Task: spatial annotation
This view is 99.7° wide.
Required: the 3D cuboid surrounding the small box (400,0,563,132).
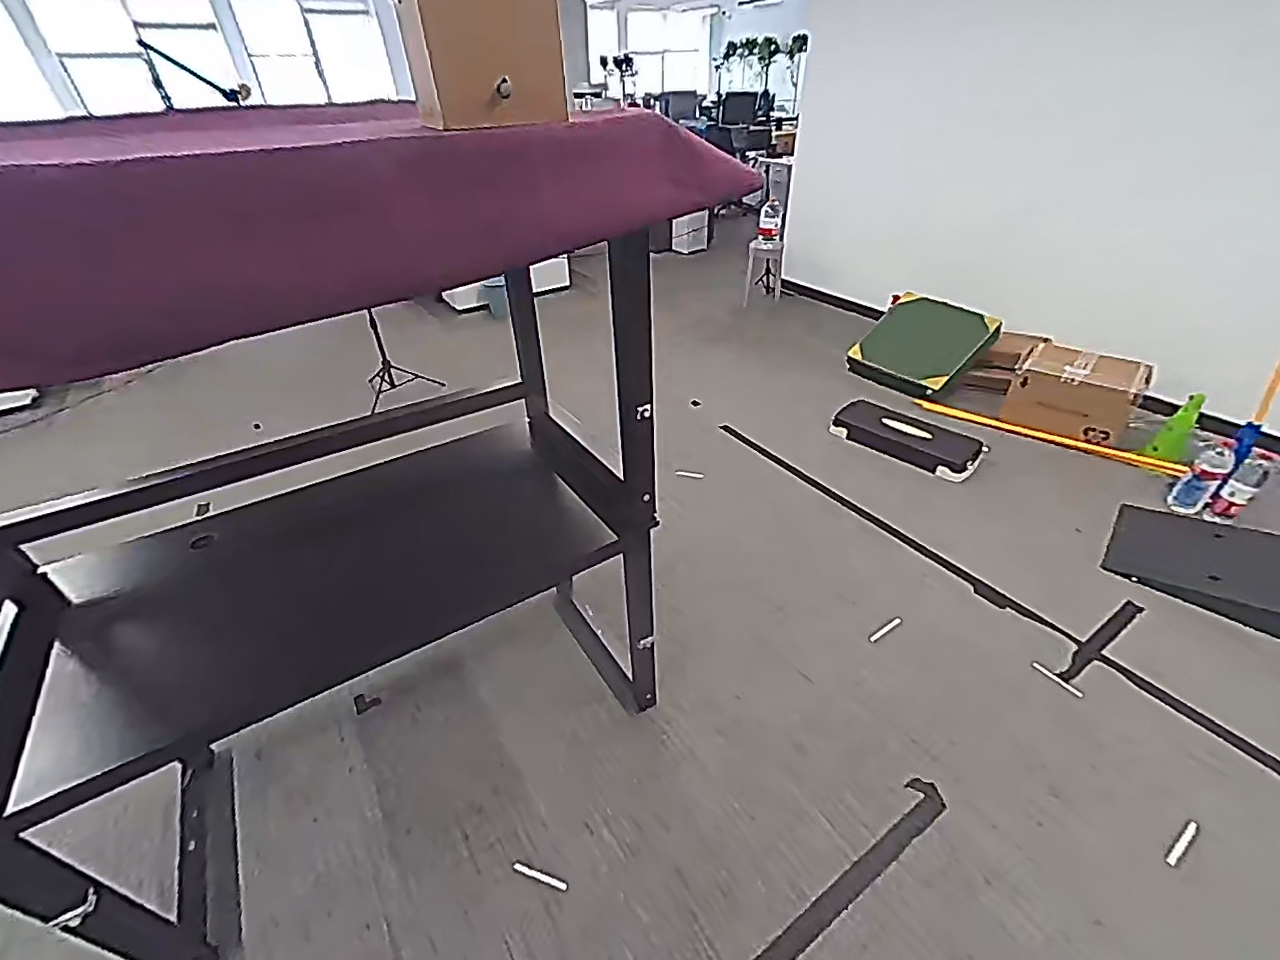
[{"bbox_3d":[-0.212,-0.580,0.732,0.179,0.176,0.168,-19,38,-21],"label":"small box"}]
